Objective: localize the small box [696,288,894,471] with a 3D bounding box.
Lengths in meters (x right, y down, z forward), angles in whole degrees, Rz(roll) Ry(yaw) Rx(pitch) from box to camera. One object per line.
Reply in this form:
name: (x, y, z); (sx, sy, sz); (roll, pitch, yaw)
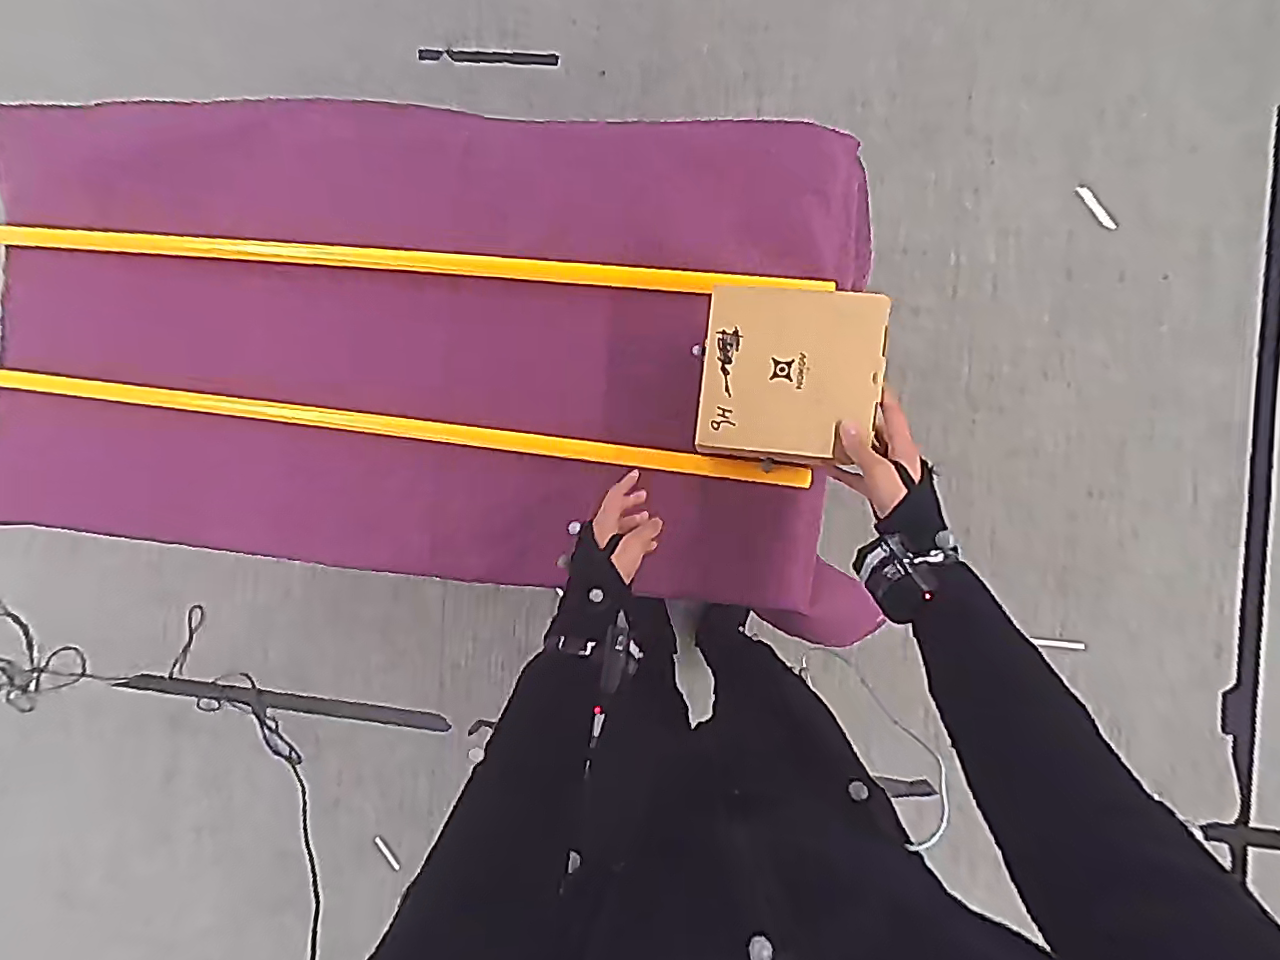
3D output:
small box: (0.160, -0.102, 0.612); (0.179, 0.176, 0.168); (7, 91, 7)
